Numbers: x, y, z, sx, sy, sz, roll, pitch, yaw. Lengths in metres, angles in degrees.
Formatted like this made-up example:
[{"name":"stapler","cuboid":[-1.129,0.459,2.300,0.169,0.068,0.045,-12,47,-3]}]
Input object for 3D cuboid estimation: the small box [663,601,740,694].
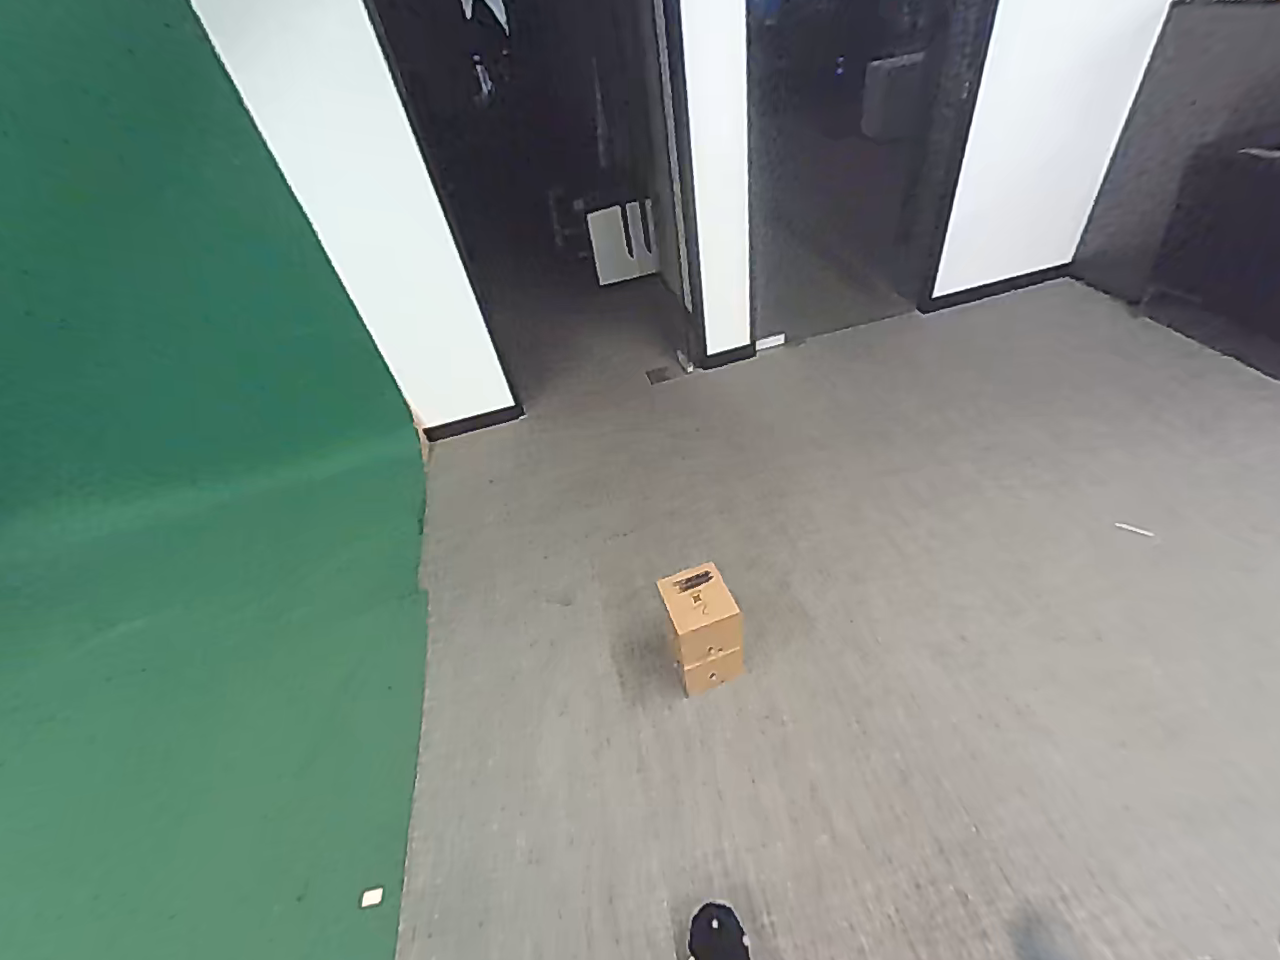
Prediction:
[{"name":"small box","cuboid":[0.180,0.486,1.544,0.168,0.176,0.179,-19,43,-8]}]
